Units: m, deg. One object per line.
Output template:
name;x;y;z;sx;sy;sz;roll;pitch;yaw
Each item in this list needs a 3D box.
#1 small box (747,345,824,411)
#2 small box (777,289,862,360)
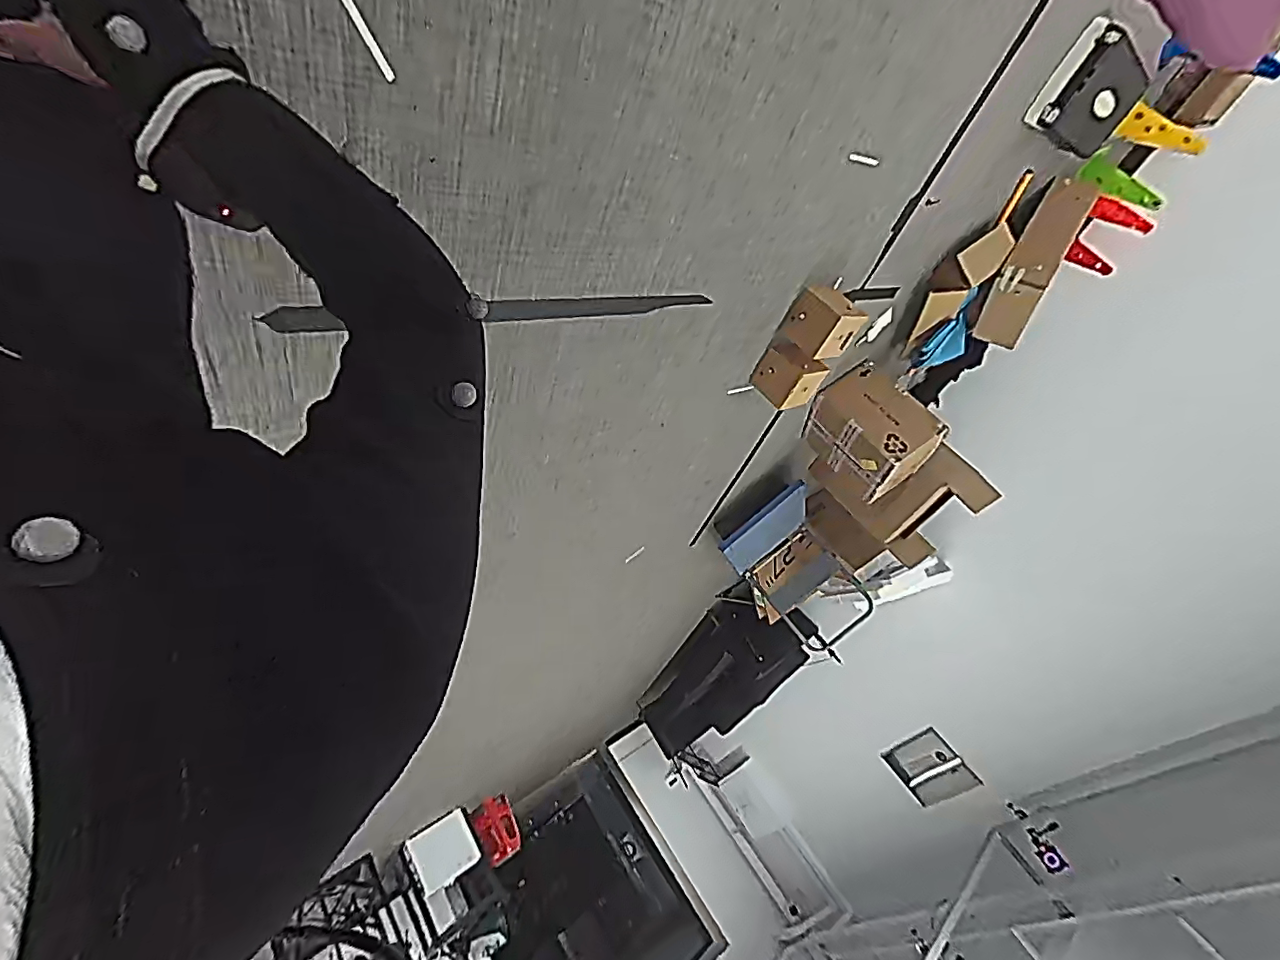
small box;0.529;-0.380;1.979;0.179;0.176;0.168;-17;148;-39
small box;0.603;-0.528;1.824;0.179;0.176;0.168;-16;146;-40
